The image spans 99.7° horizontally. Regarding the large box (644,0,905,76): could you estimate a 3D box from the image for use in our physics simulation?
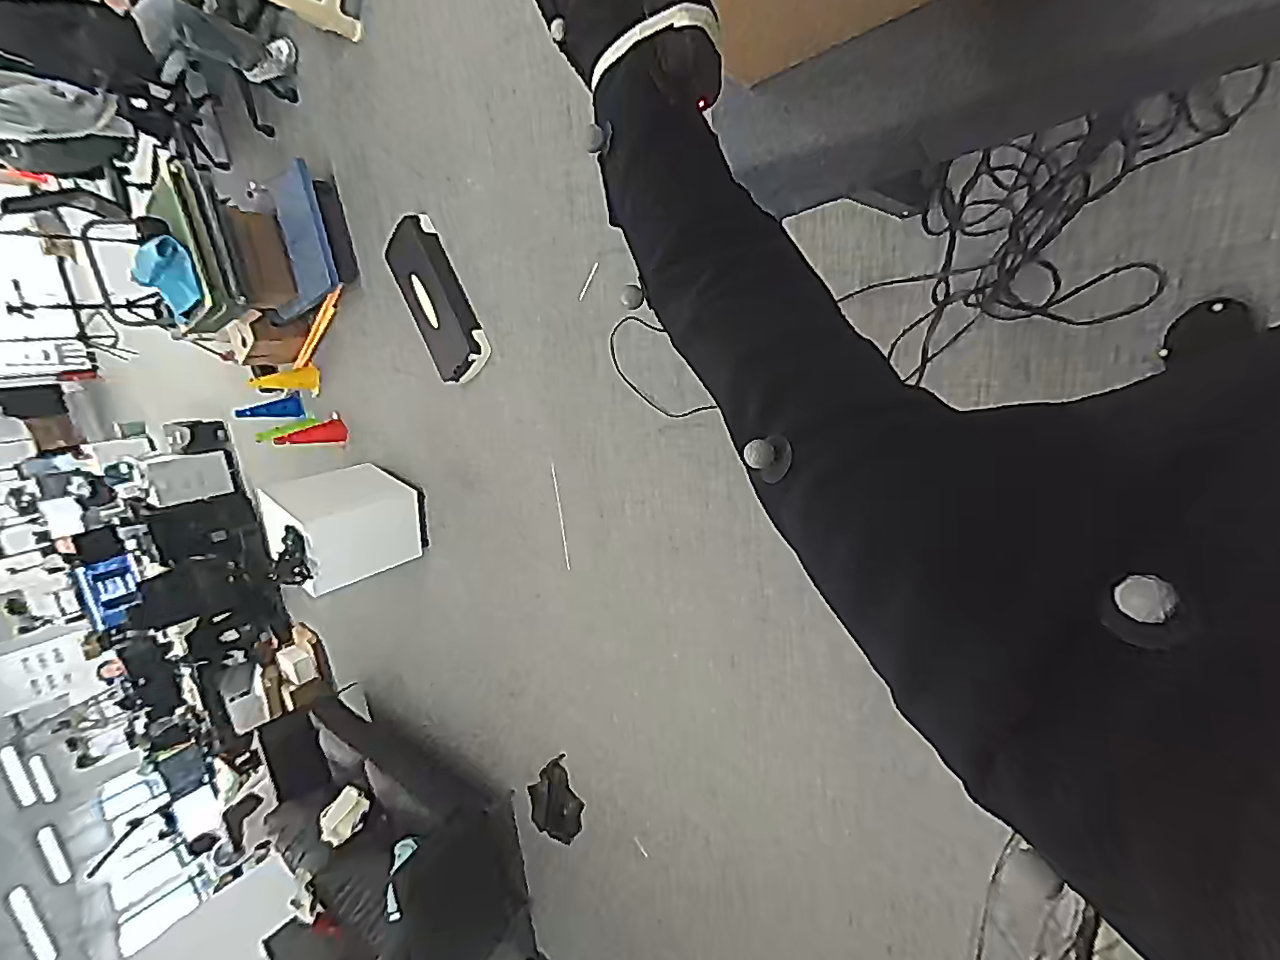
[{"bbox_3d":[0.163,-0.555,0.339,0.408,0.320,0.320,2,106,39],"label":"large box"}]
